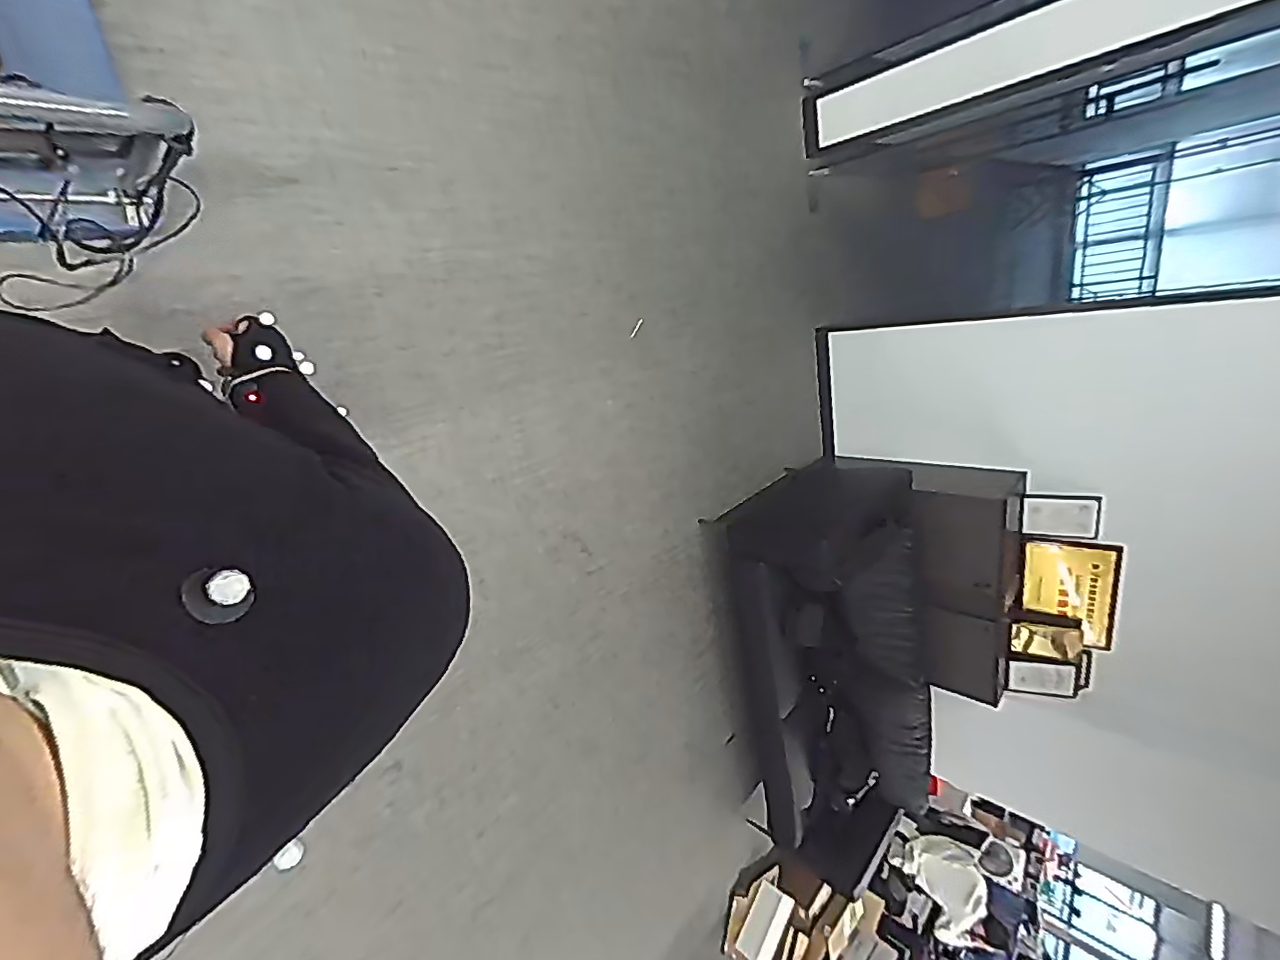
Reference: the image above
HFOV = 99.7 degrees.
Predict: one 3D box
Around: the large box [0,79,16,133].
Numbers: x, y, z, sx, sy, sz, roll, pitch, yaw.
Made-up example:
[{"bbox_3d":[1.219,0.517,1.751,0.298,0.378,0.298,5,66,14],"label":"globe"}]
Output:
[{"bbox_3d":[-1.100,-0.722,0.676,0.320,0.320,0.408,-20,111,-42],"label":"large box"}]
